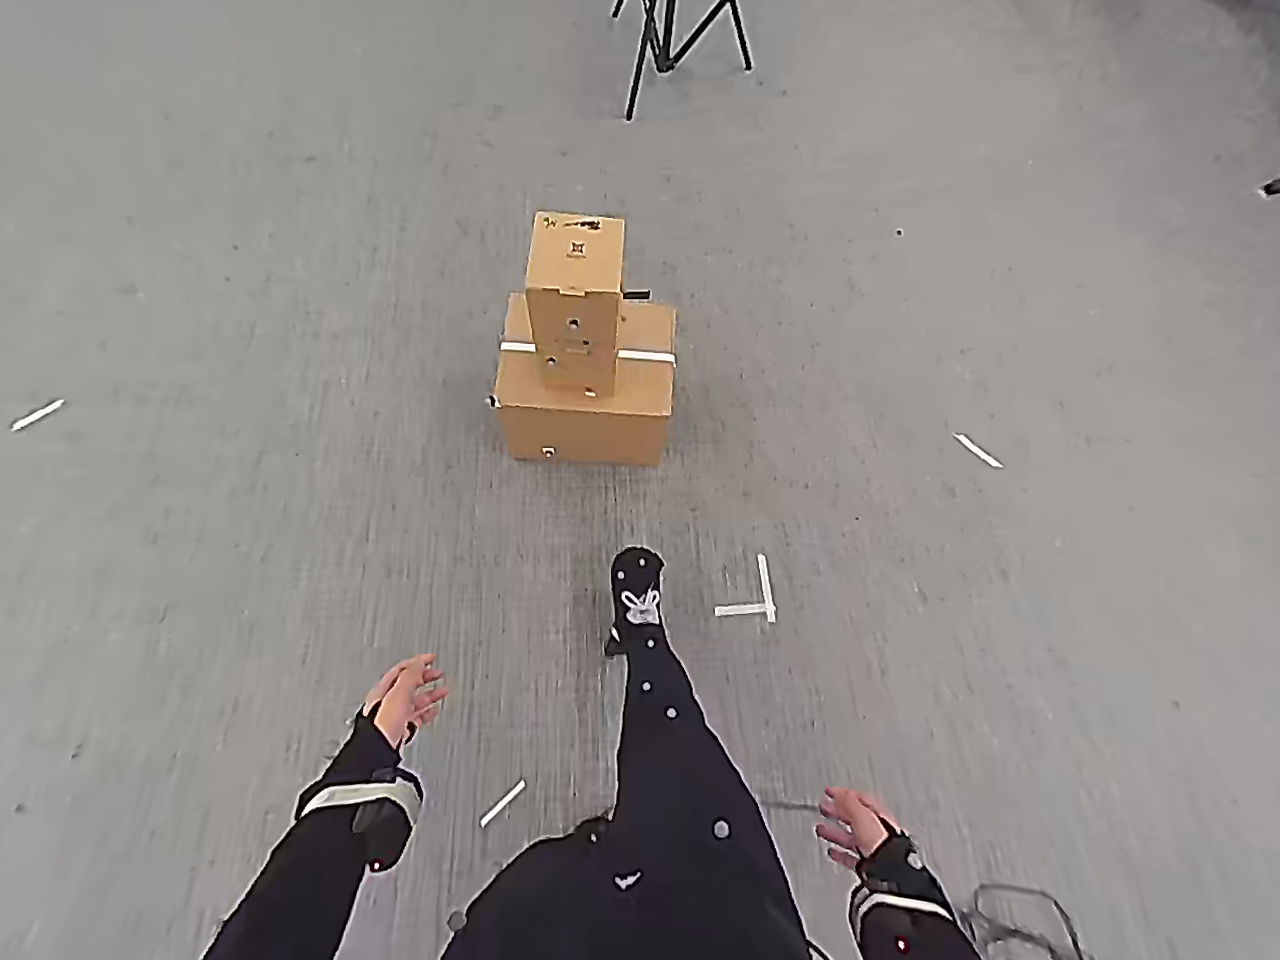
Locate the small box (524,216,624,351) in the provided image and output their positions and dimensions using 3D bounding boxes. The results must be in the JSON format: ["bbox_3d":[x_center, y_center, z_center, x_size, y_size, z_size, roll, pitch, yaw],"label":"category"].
[{"bbox_3d":[-0.119,-0.367,1.032,0.168,0.176,0.179,4,70,-3],"label":"small box"}]
